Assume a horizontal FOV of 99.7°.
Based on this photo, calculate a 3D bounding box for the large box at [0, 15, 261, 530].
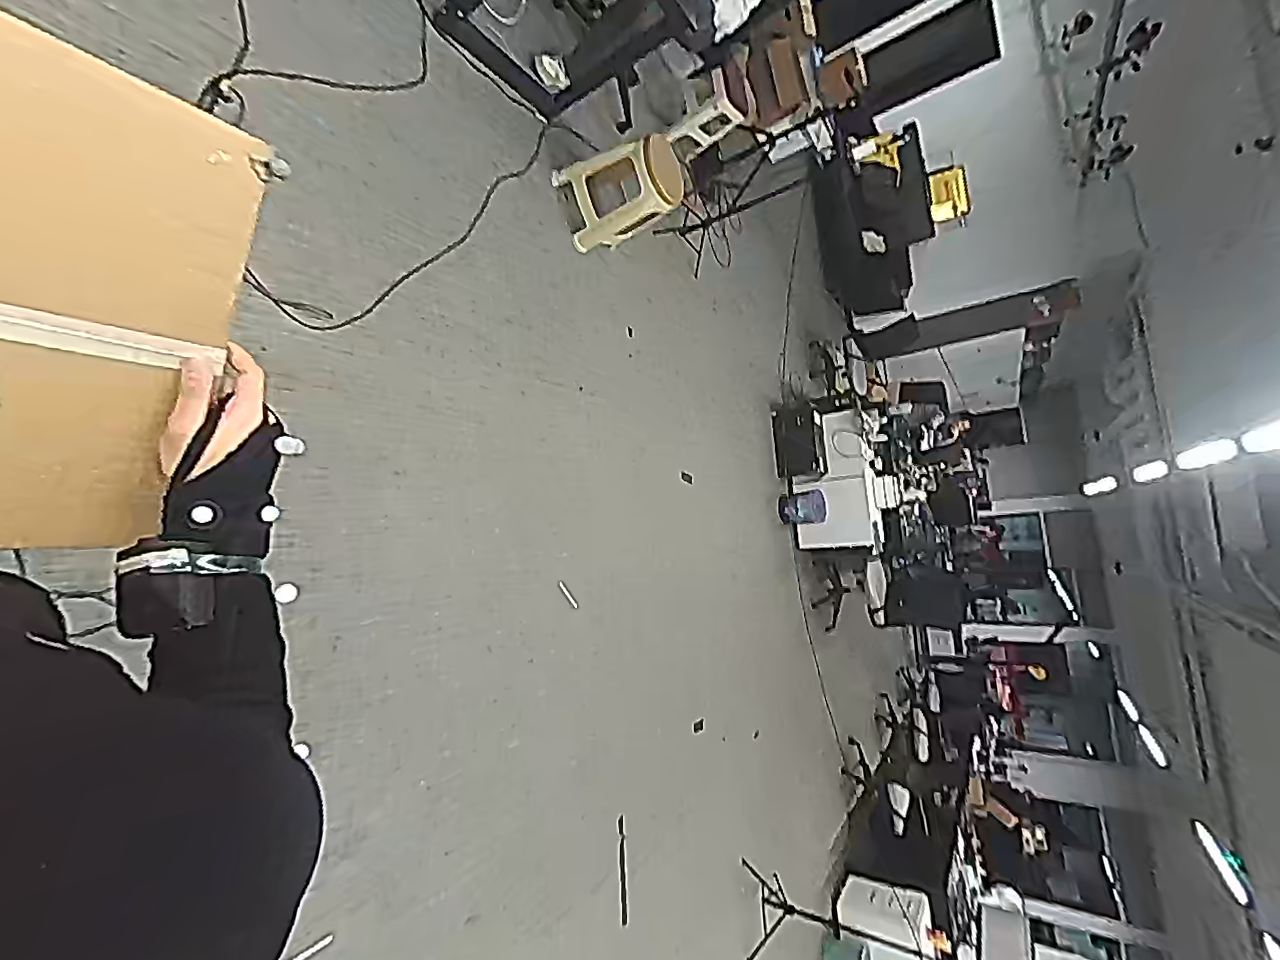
[{"bbox_3d":[-0.547,-0.172,0.334,0.408,0.320,0.320,5,113,-55],"label":"large box"}]
